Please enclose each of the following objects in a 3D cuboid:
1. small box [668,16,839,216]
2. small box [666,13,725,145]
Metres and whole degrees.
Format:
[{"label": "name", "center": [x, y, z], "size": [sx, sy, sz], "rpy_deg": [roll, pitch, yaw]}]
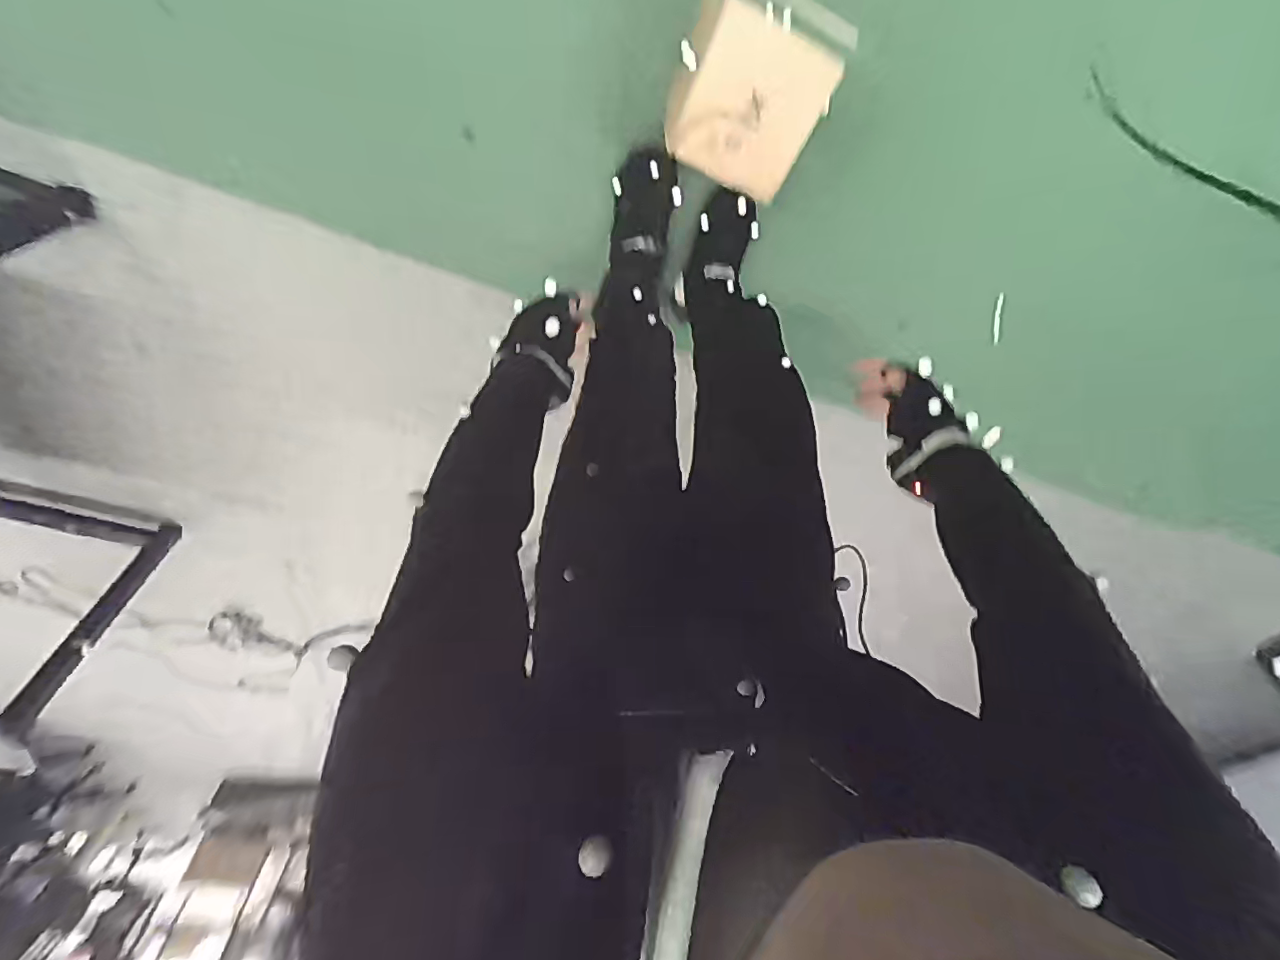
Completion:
[{"label": "small box", "center": [0.146, -0.521, 0.774], "size": [0.168, 0.176, 0.179], "rpy_deg": [20, 130, -15]}, {"label": "small box", "center": [0.153, -0.631, 0.898], "size": [0.168, 0.176, 0.179], "rpy_deg": [17, 130, -13]}]
